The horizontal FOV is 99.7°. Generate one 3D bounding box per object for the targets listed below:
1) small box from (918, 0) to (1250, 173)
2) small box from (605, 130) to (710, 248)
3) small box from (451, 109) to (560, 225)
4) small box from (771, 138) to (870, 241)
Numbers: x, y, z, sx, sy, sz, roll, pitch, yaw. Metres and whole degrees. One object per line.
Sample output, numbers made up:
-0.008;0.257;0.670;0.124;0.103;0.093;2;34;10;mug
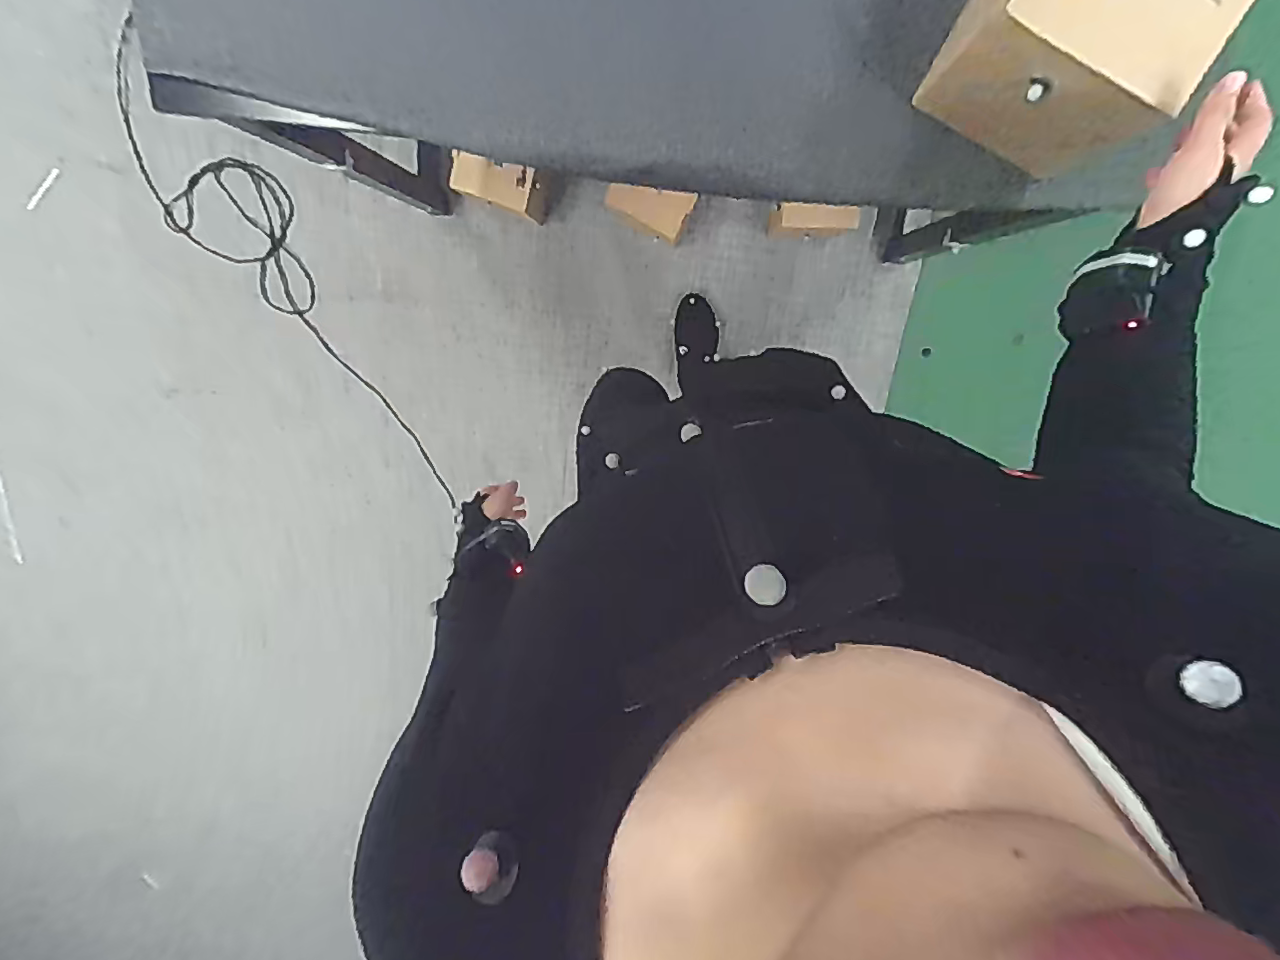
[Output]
0.403;-0.423;0.503;0.179;0.176;0.168;27;104;-3;small box
0.042;-0.646;1.226;0.179;0.176;0.168;27;105;-3;small box
-0.301;-0.701;1.233;0.179;0.176;0.168;19;107;-1;small box
0.391;-0.638;1.205;0.168;0.176;0.179;2;106;3;small box
